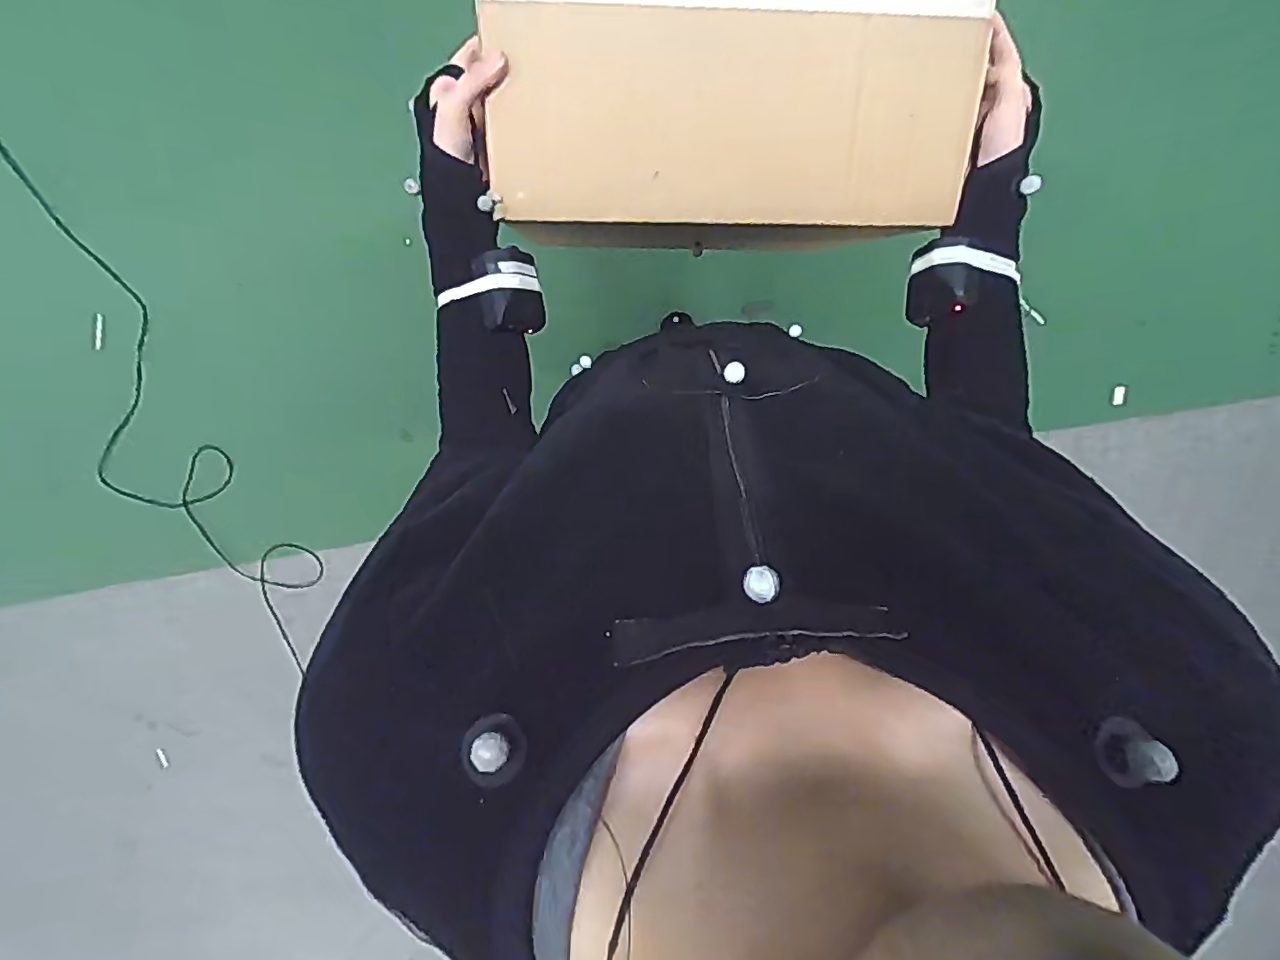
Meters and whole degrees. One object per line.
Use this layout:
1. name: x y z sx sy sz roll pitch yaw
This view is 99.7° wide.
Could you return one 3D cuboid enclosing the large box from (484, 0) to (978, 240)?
1. large box: 0.068 -0.427 0.568 0.408 0.320 0.320 0 109 -3
